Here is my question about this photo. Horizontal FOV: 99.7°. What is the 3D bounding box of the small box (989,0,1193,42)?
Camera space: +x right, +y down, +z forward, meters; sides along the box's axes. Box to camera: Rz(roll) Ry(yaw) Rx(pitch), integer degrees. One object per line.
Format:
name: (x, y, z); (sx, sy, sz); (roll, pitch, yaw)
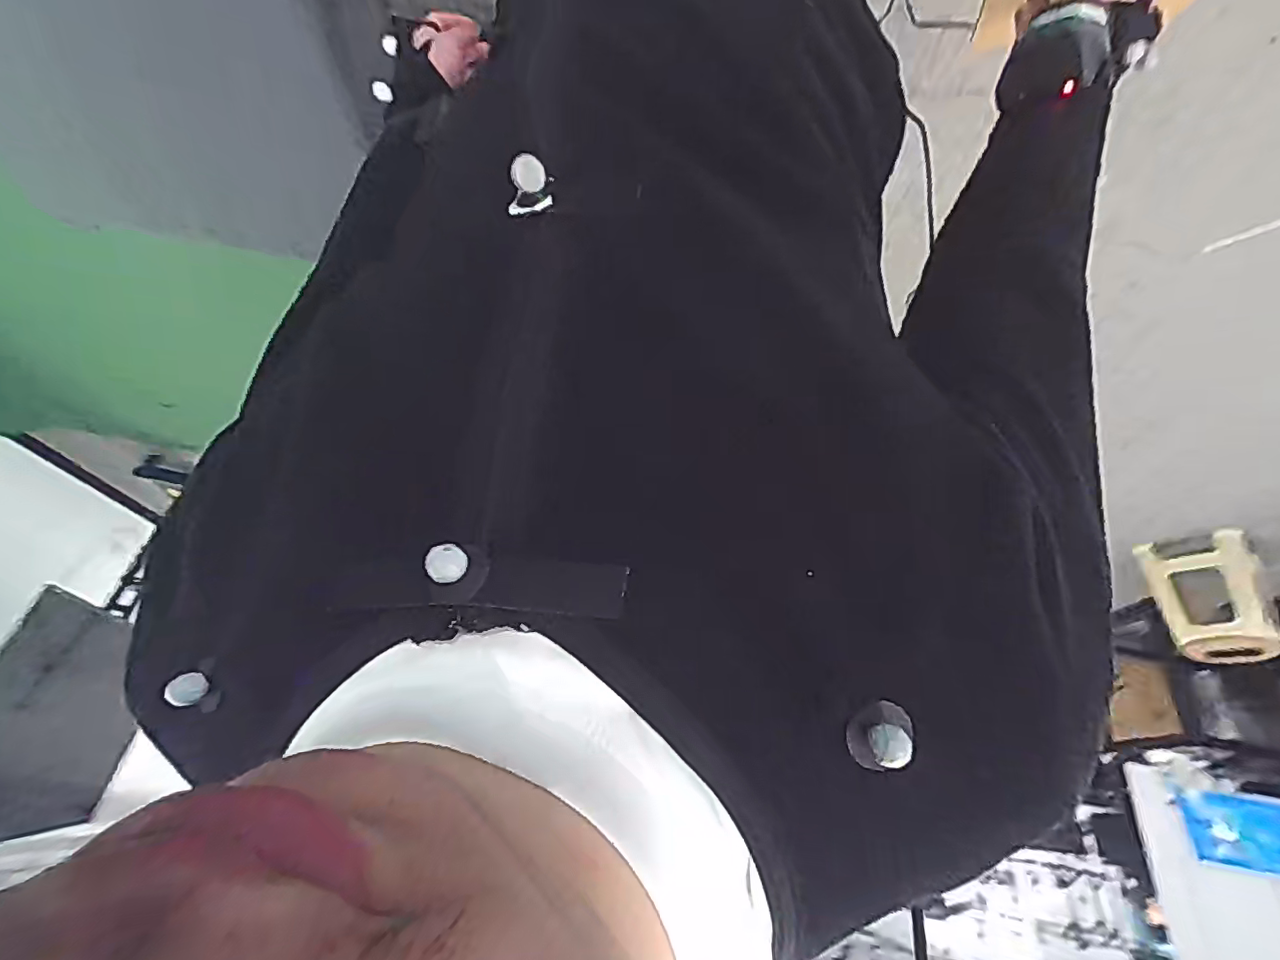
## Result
small box: (0.425, -0.514, 0.463); (0.168, 0.176, 0.179); (18, 110, 19)
